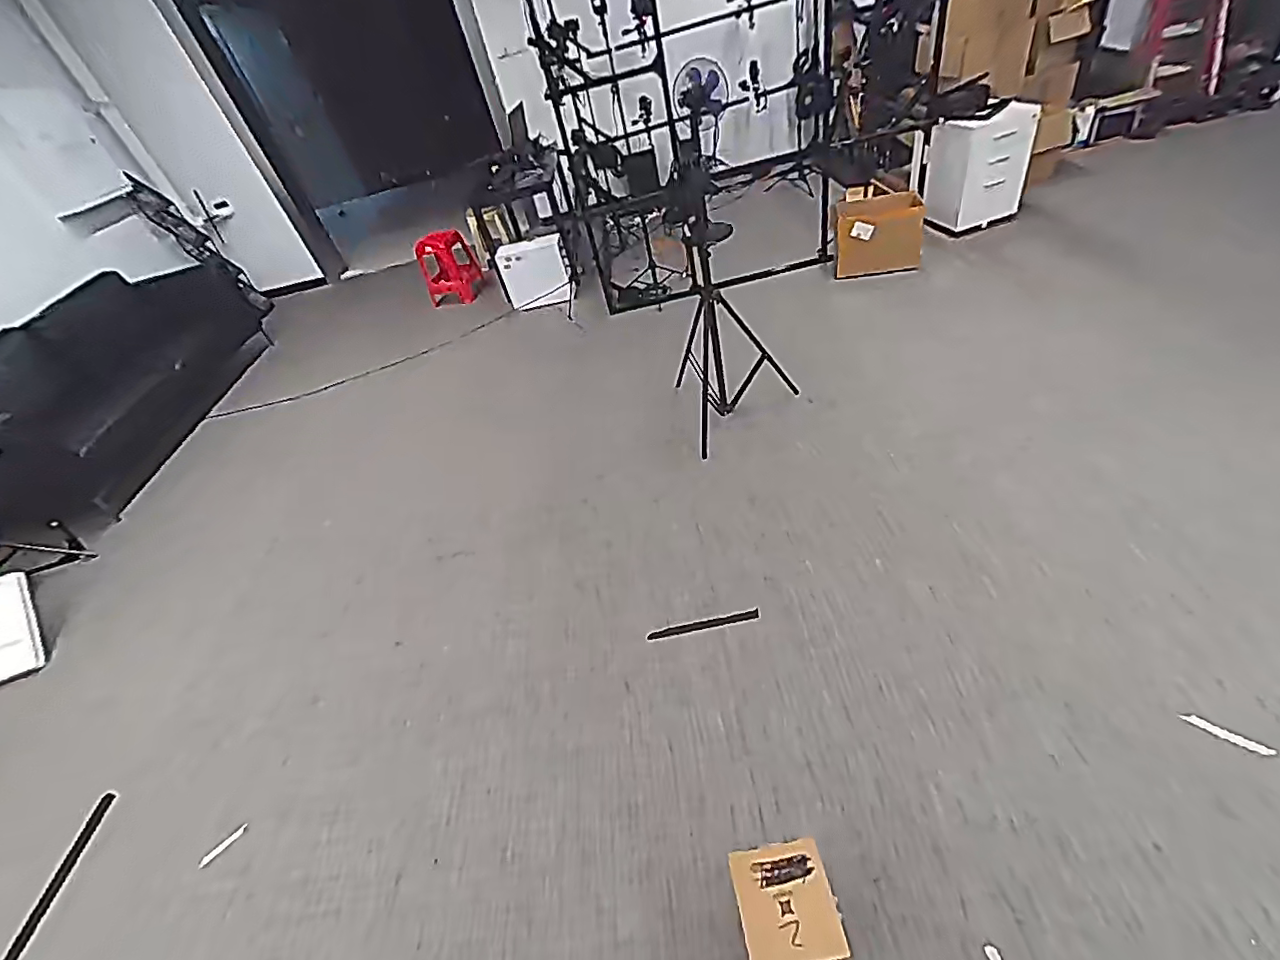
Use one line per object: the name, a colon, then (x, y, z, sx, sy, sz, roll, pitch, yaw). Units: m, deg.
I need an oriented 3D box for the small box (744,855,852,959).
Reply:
small box: (0.316, 0.902, 1.103, 0.168, 0.176, 0.179, -13, 41, 3)
